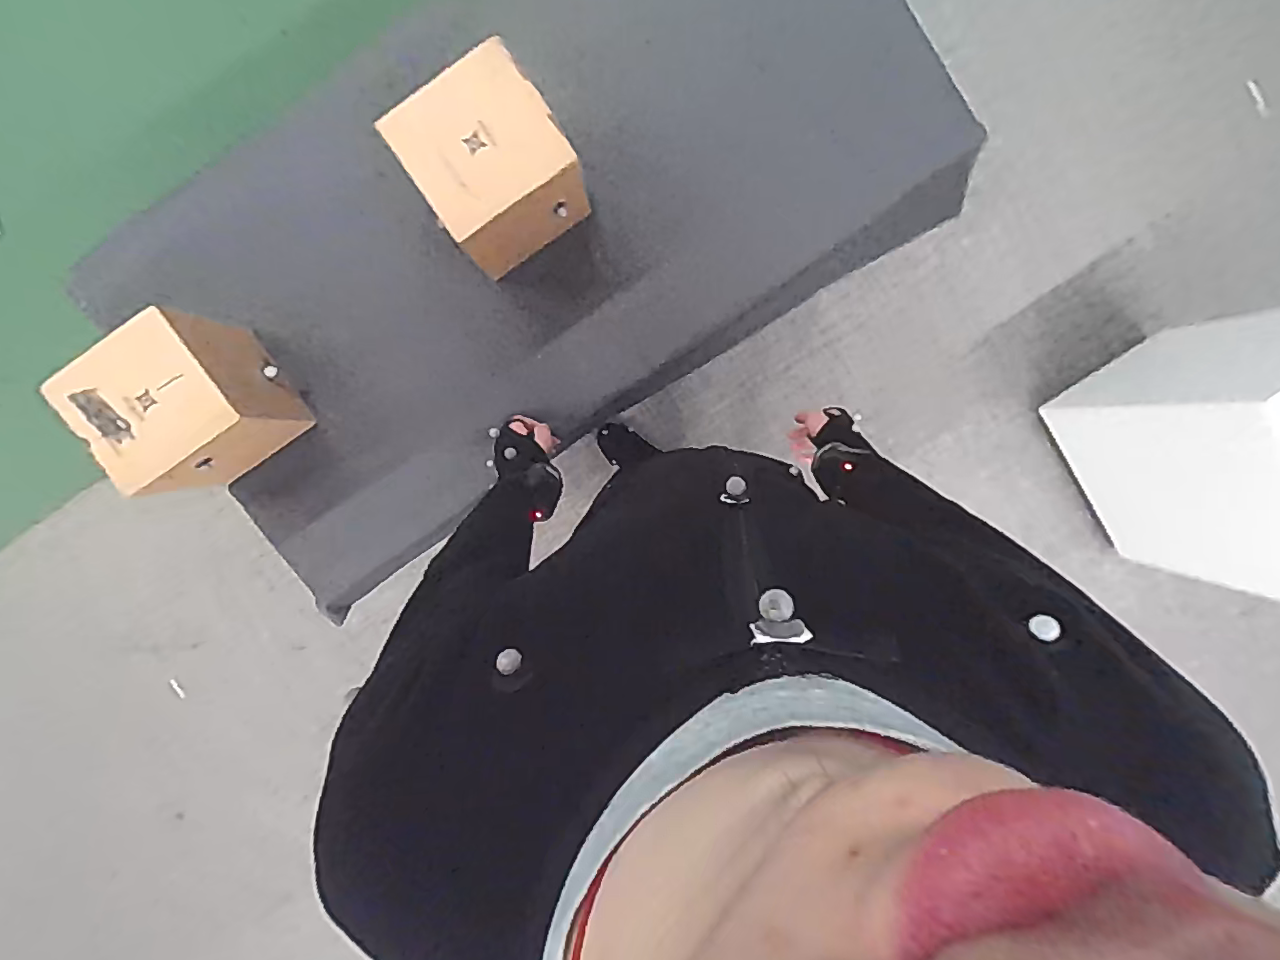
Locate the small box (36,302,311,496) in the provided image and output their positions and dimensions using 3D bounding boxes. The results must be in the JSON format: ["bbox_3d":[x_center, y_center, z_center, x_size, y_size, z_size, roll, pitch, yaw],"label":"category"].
[{"bbox_3d":[-0.589,-0.101,0.711,0.179,0.176,0.168,-35,97,1],"label":"small box"}]

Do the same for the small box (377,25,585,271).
[{"bbox_3d":[-0.182,-0.400,0.689,0.179,0.176,0.168,-35,96,4],"label":"small box"}]
